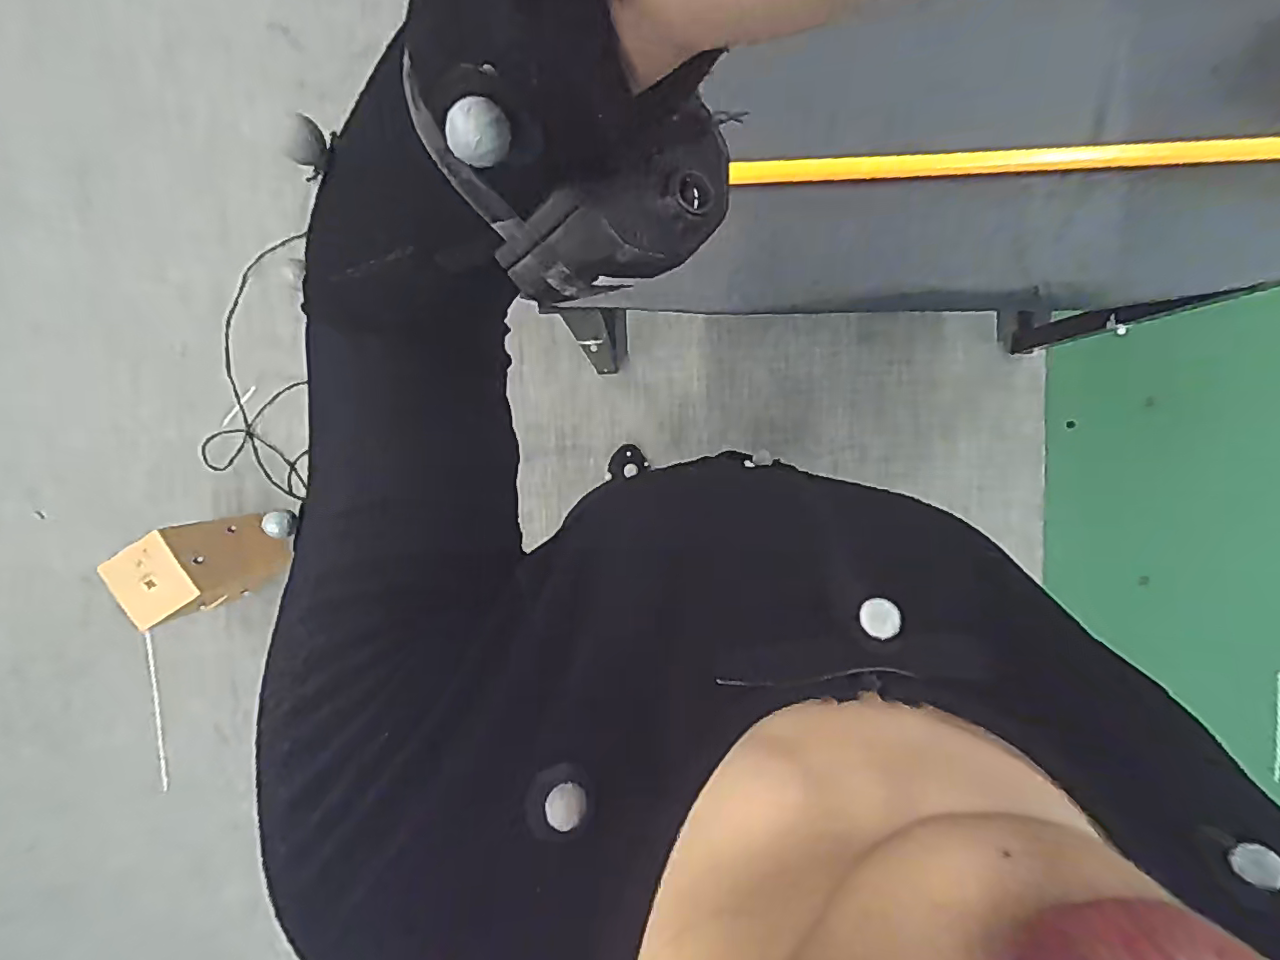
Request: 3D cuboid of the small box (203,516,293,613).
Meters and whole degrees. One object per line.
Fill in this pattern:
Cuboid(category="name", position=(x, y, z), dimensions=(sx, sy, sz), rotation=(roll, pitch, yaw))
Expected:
Cuboid(category="small box", position=(-1.073, 0.214, 1.427), dimensions=(0.168, 0.176, 0.179), rotation=(-38, 92, 2))

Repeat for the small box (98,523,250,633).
Cuboid(category="small box", position=(-1.072, 0.220, 1.262), dimensions=(0.168, 0.176, 0.179), rotation=(-32, 92, 2))
